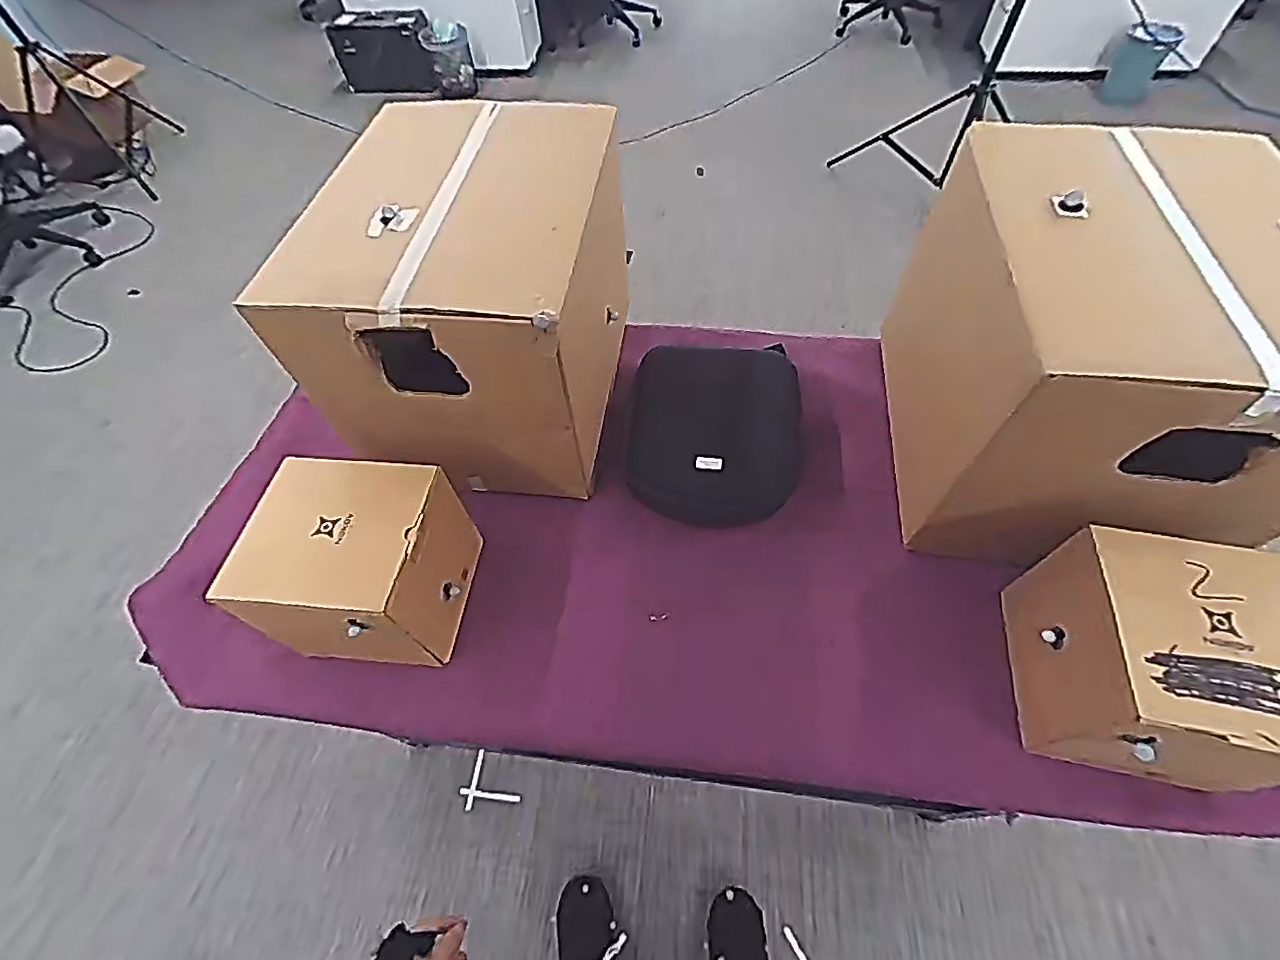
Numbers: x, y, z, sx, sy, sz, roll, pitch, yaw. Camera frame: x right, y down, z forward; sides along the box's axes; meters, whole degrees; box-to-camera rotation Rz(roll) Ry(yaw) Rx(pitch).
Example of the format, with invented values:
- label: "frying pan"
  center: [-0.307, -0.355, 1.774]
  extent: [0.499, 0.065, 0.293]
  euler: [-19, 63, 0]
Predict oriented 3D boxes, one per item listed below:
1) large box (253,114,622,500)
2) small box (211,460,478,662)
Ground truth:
- label: "large box"
  center: [-0.200, -0.227, 0.731]
  extent: [0.320, 0.320, 0.408]
  euler: [3, 59, 5]
- label: "small box"
  center: [-0.304, 0.095, 0.603]
  extent: [0.179, 0.176, 0.168]
  euler: [3, 55, 4]
